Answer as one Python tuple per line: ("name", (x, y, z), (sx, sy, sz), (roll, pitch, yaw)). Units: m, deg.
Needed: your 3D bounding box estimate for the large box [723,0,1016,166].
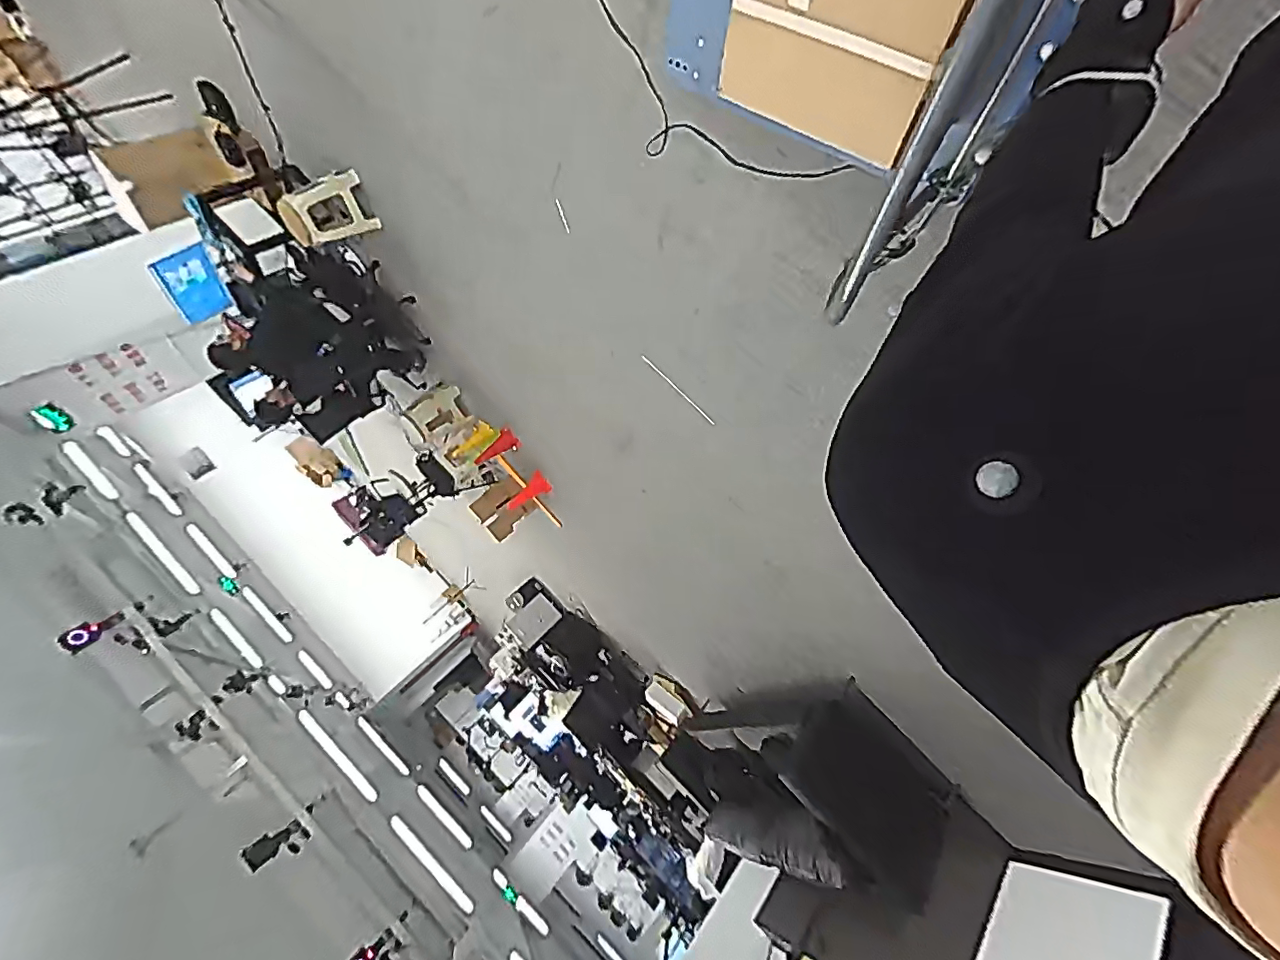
("large box", (0.428, -0.860, 1.001), (0.408, 0.320, 0.320), (38, 150, 19))
